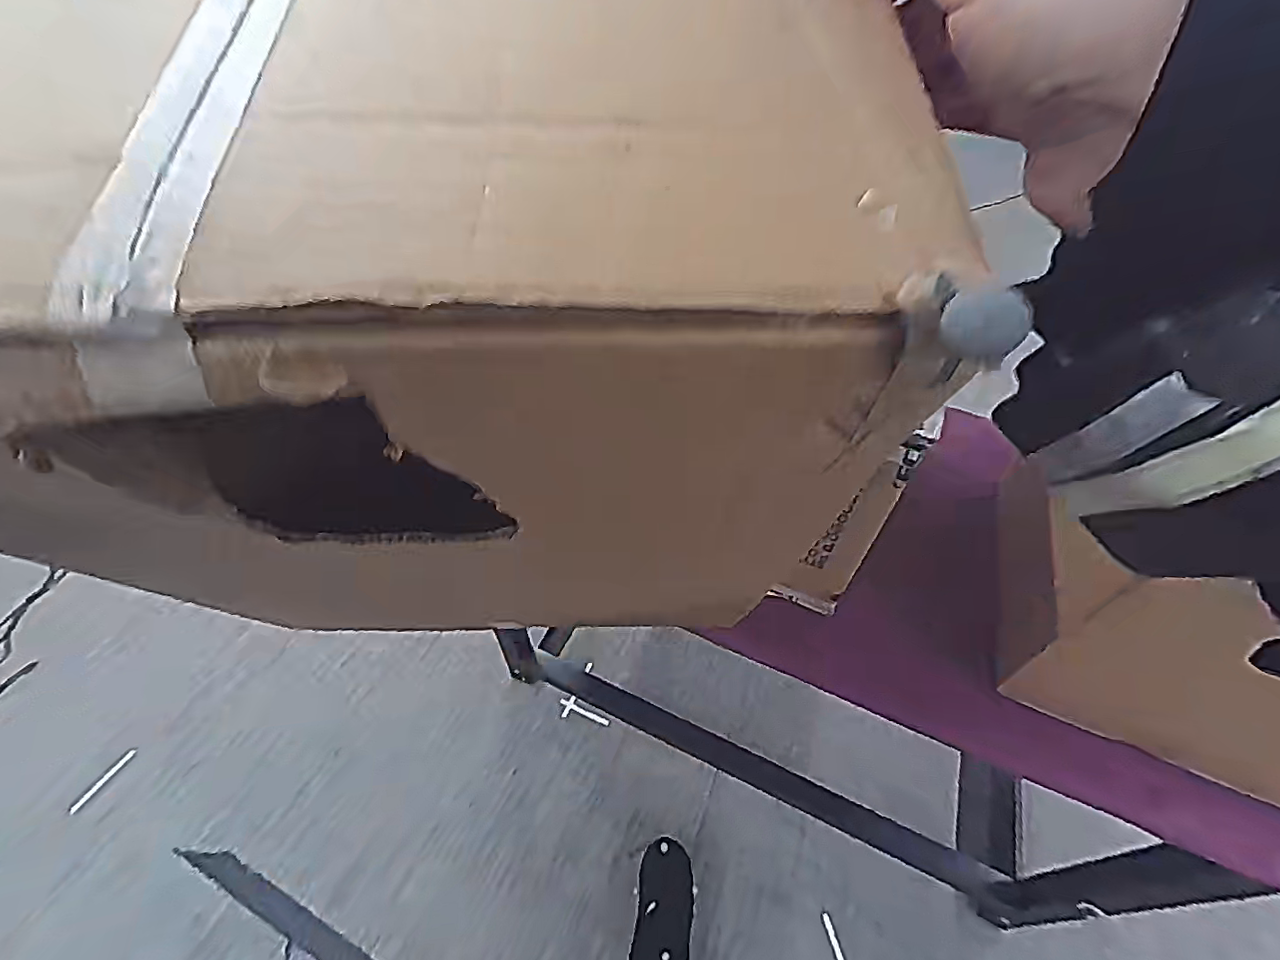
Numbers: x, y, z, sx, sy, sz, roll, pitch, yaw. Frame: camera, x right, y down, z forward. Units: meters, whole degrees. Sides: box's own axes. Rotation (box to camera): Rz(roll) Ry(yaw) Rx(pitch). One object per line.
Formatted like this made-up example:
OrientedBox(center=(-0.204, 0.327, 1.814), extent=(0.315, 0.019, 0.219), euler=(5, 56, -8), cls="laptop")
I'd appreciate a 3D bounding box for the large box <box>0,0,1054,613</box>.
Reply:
OrientedBox(center=(-0.076, -0.151, 0.320), extent=(0.320, 0.320, 0.408), euler=(-2, 67, 1), cls="large box")
